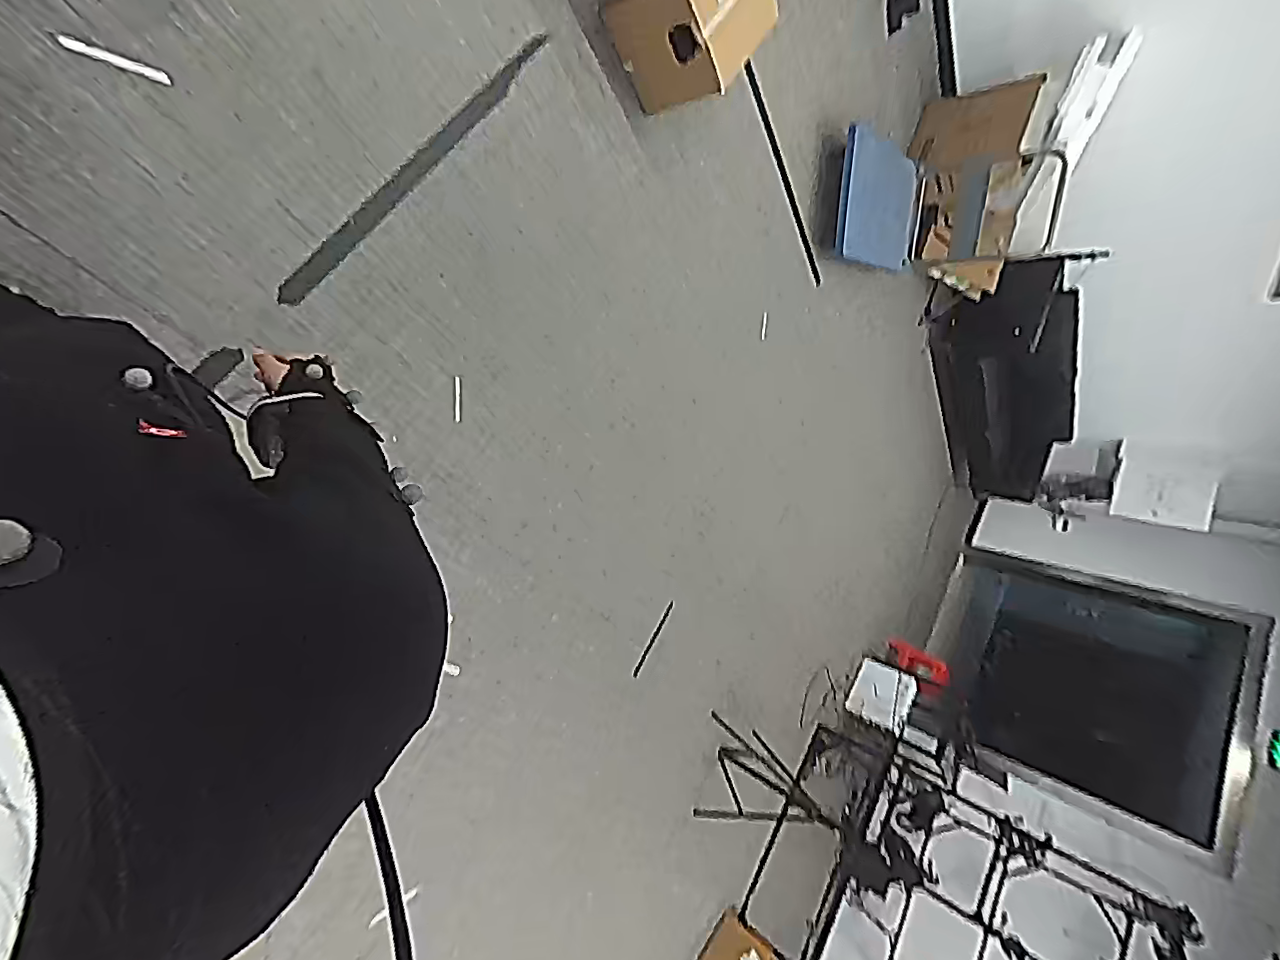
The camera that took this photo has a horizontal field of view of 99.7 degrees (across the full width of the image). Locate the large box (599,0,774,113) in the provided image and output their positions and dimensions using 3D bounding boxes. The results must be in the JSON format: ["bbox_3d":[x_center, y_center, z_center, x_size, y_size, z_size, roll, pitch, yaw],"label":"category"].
[{"bbox_3d":[0.150,-1.428,1.652,0.320,0.320,0.408,47,68,-43],"label":"large box"}]
